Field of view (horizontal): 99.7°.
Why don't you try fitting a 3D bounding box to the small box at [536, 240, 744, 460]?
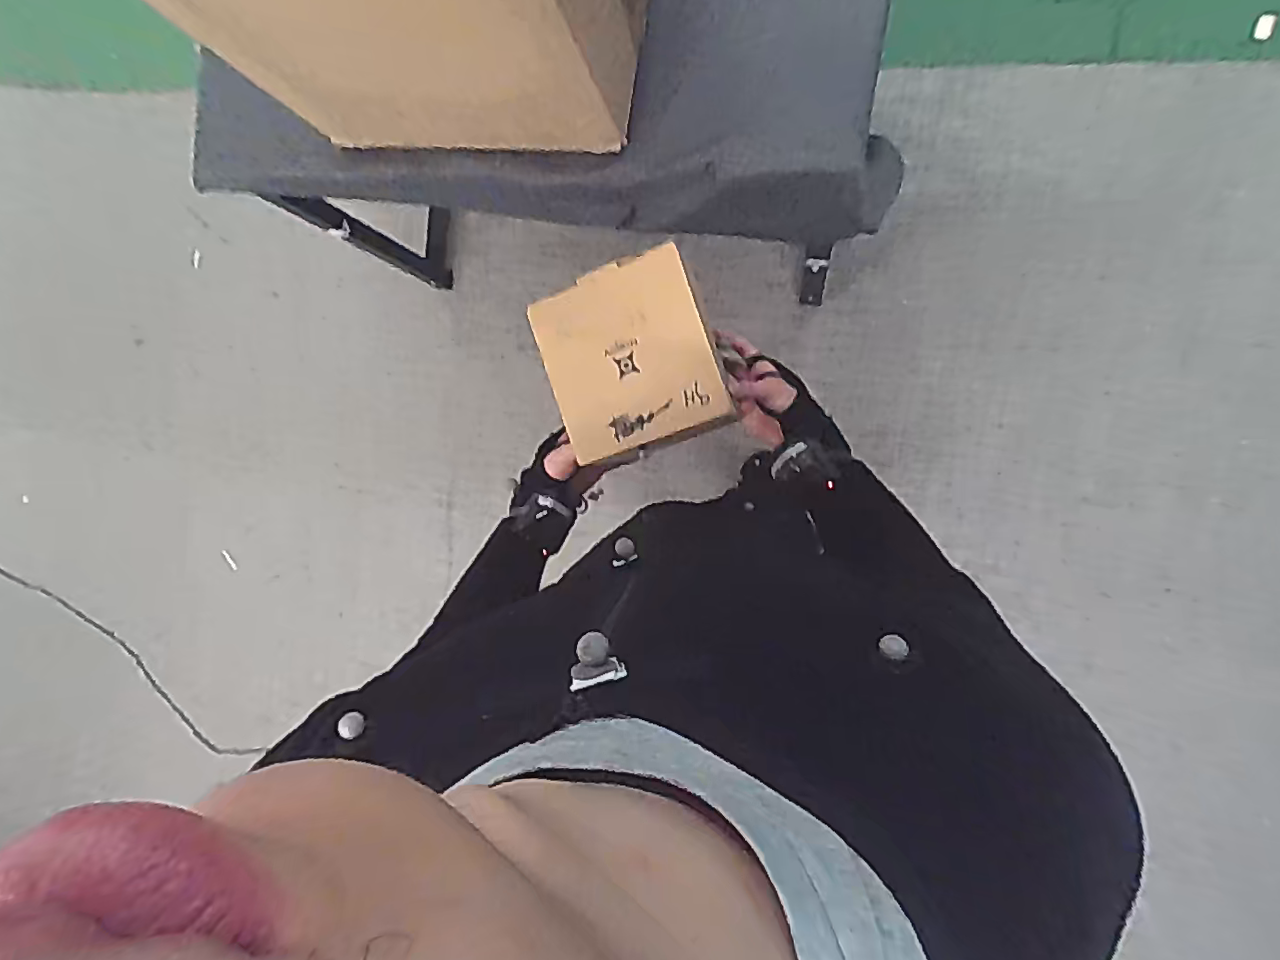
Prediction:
[{"bbox_3d":[0.011,-0.127,0.609,0.168,0.176,0.179,-19,88,15],"label":"small box"}]
